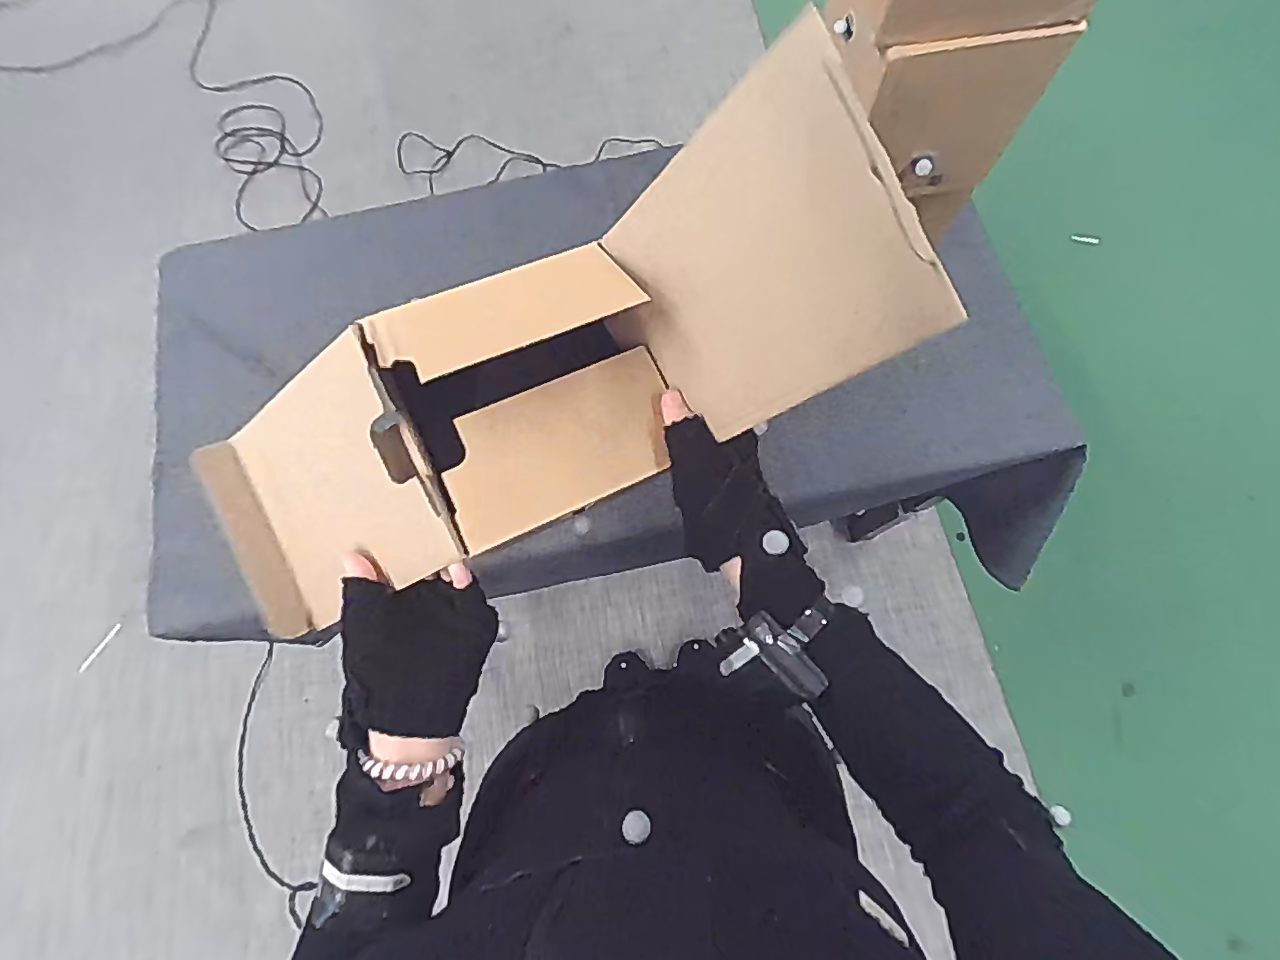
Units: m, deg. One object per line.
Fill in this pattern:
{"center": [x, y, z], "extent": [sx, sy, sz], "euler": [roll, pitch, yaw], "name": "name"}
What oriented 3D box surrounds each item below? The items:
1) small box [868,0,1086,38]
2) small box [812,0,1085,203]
{"center": [0.269, -0.468, 0.394], "extent": [0.179, 0.176, 0.168], "euler": [-4, 74, 3], "name": "small box"}
{"center": [0.285, -0.421, 0.549], "extent": [0.168, 0.176, 0.179], "euler": [-6, 74, 3], "name": "small box"}
